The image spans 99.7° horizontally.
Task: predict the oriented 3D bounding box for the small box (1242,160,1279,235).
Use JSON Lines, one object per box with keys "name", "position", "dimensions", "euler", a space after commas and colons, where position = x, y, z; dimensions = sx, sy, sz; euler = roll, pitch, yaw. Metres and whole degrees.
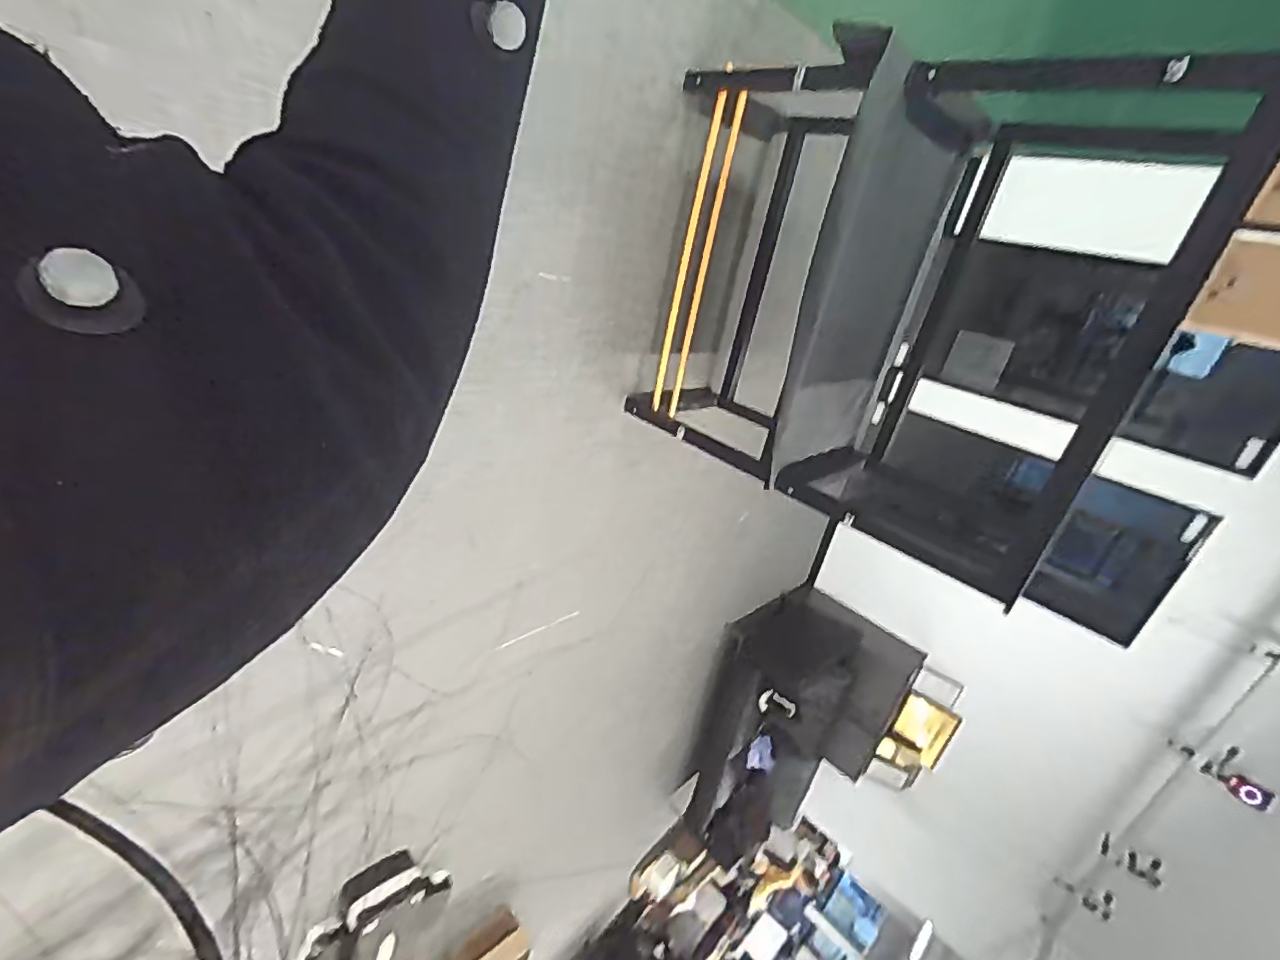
{"name": "small box", "position": [1.275, -0.547, 0.998], "dimensions": [0.179, 0.176, 0.168], "euler": [-14, 127, -44]}
